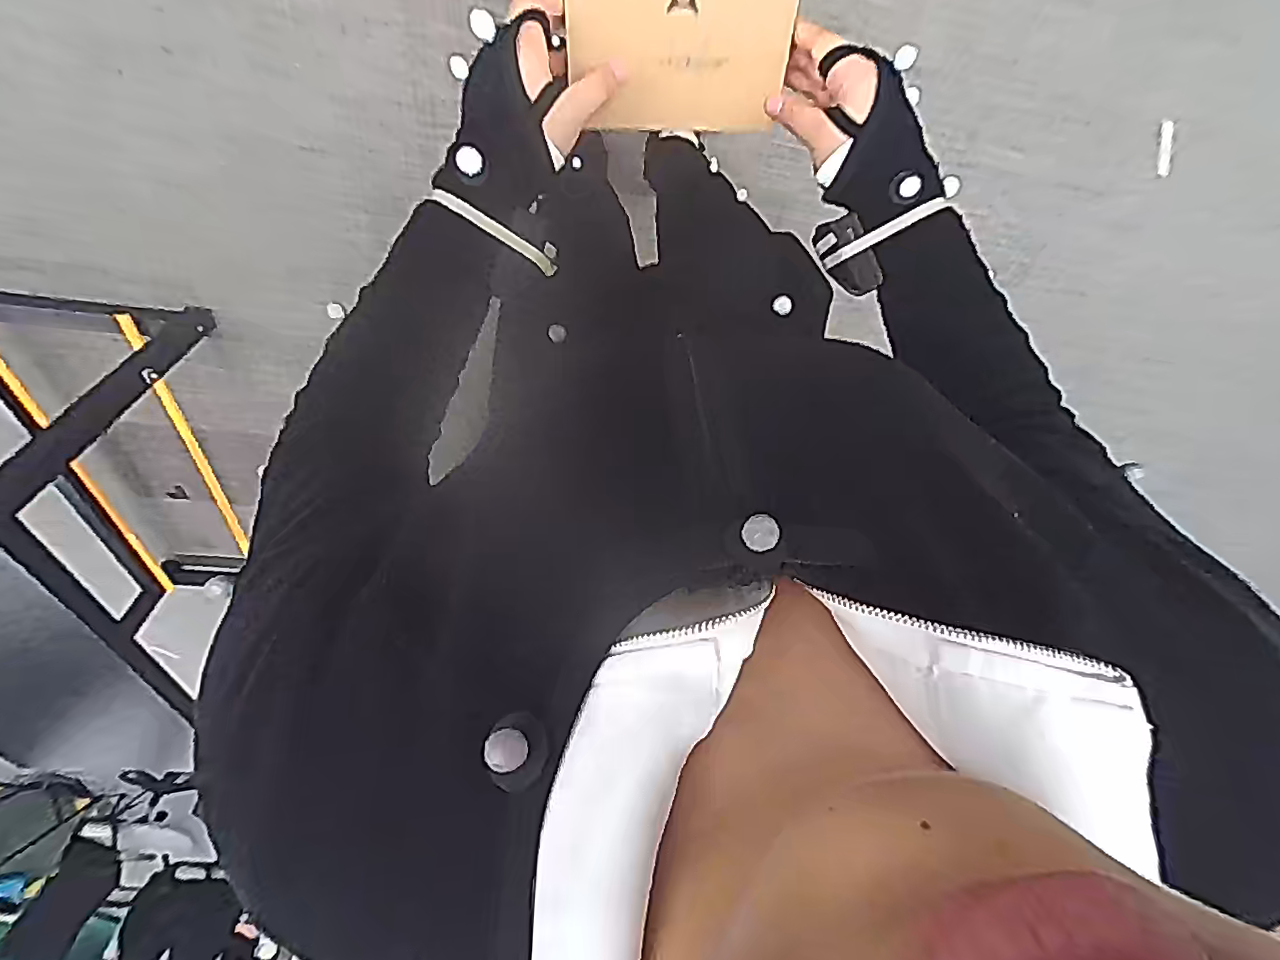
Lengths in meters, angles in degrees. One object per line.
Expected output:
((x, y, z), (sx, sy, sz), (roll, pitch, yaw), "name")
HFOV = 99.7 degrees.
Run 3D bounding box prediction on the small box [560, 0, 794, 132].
((0.021, -0.397, 0.419), (0.168, 0.176, 0.179), (-2, 139, -4), "small box")
